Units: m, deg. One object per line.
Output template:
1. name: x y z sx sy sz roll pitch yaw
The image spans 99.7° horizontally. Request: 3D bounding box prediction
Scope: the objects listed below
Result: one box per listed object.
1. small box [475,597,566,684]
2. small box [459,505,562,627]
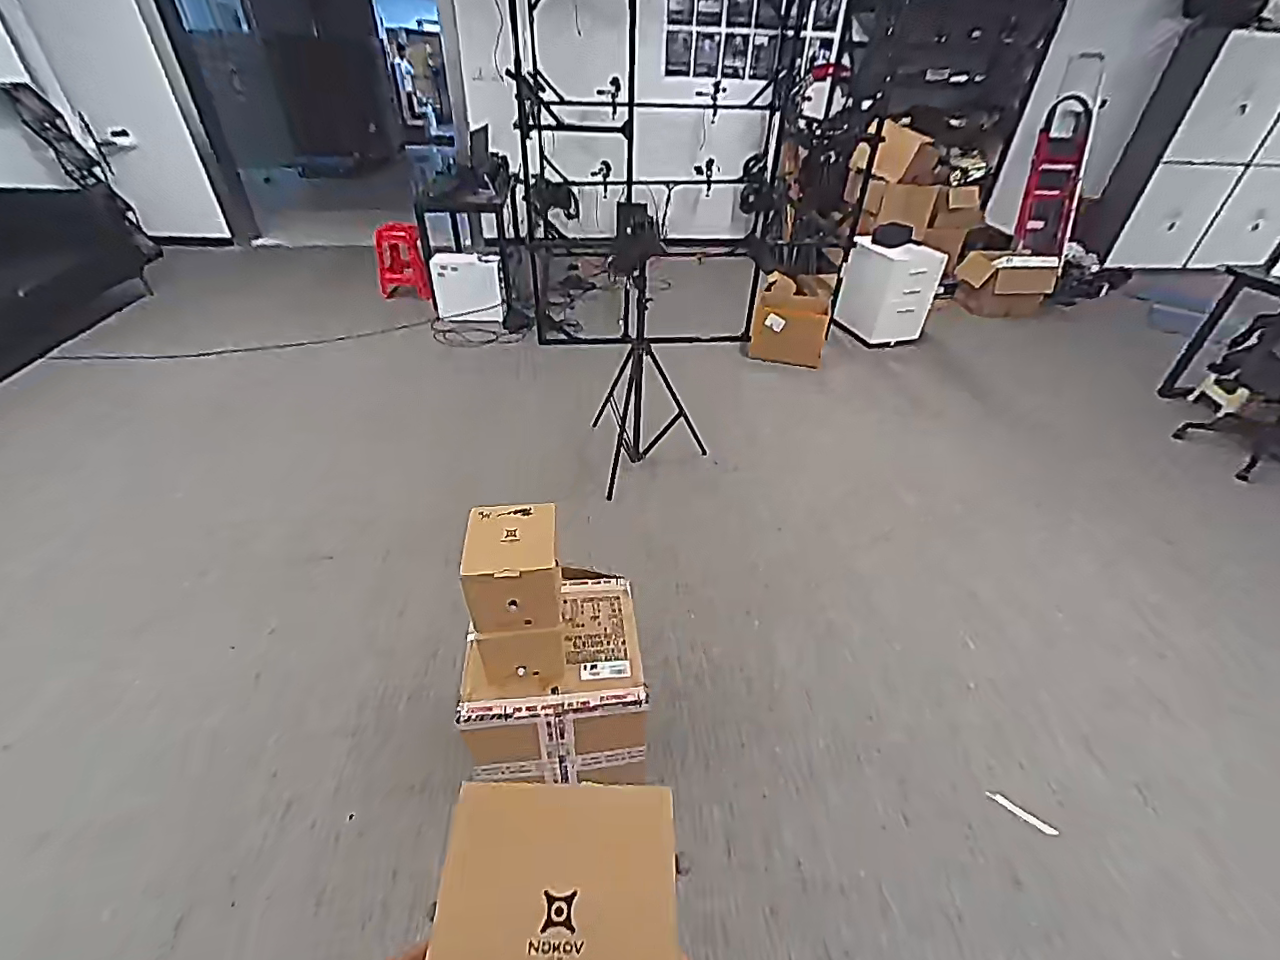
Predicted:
1. small box: -0.246 0.304 1.144 0.168 0.176 0.179 -5 42 -7
2. small box: -0.240 0.171 1.049 0.168 0.176 0.179 -3 41 -6
